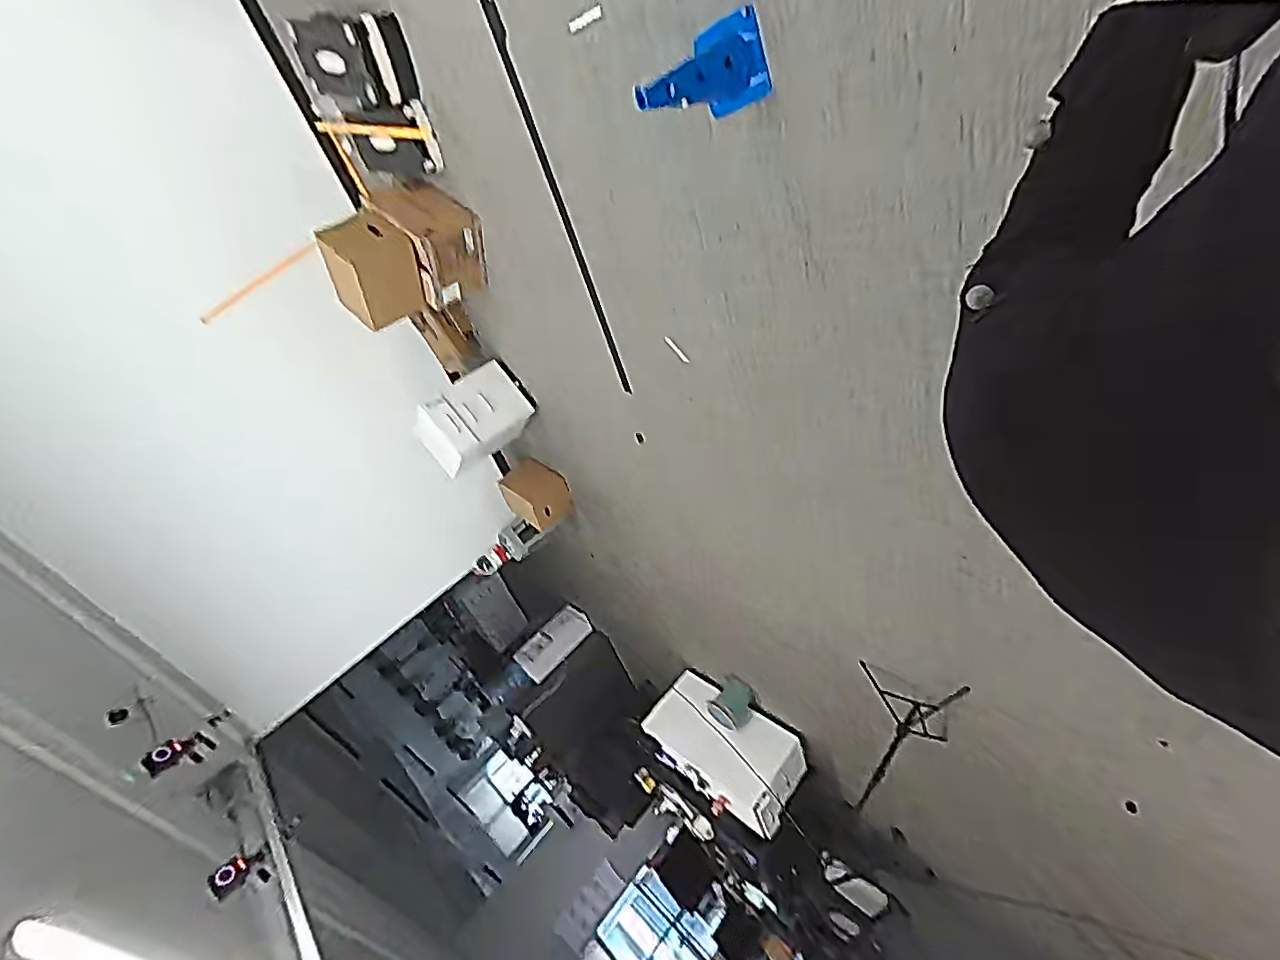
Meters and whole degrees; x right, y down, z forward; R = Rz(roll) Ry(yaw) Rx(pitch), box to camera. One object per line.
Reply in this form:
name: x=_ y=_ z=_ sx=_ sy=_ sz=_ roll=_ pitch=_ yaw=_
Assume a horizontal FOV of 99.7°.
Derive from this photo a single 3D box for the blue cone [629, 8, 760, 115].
blue cone: x=0.114 y=-0.984 z=1.335 sx=0.193 sy=0.380 sz=0.192 roll=13 pitch=136 yaw=48
